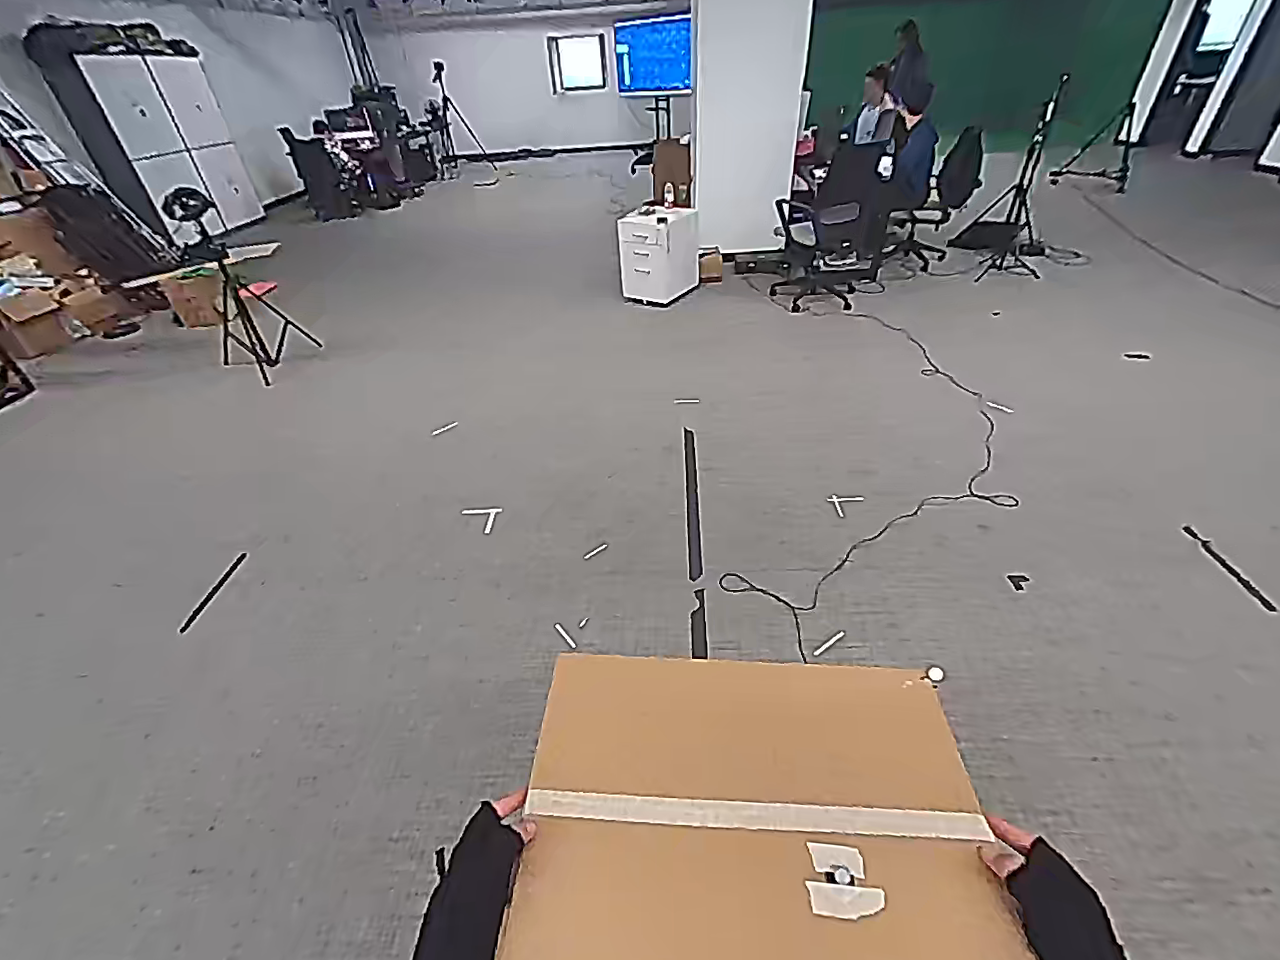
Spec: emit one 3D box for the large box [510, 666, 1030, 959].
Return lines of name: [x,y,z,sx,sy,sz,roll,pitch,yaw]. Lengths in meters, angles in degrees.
large box: [0.105,0.427,0.574,0.408,0.320,0.320,2,39,4]
